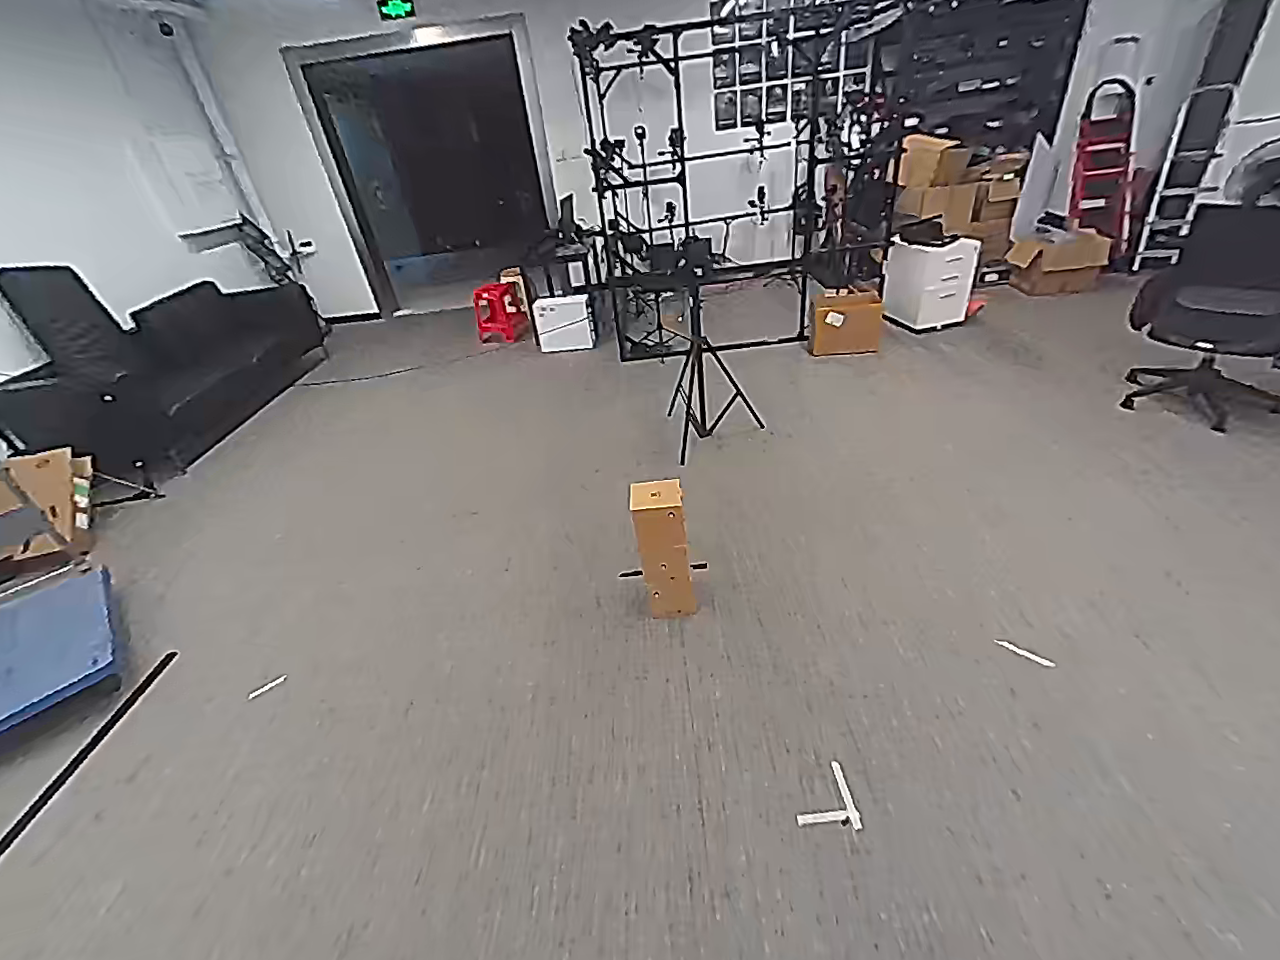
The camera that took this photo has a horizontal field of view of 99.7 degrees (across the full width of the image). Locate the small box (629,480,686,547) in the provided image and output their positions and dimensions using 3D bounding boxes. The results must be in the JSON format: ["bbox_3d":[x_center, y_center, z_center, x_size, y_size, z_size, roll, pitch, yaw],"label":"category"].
[{"bbox_3d":[0.061,0.120,1.885,0.179,0.176,0.168,-6,33,3],"label":"small box"}]

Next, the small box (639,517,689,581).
[{"bbox_3d":[0.092,0.256,1.969,0.168,0.176,0.179,-4,32,7],"label":"small box"}]
